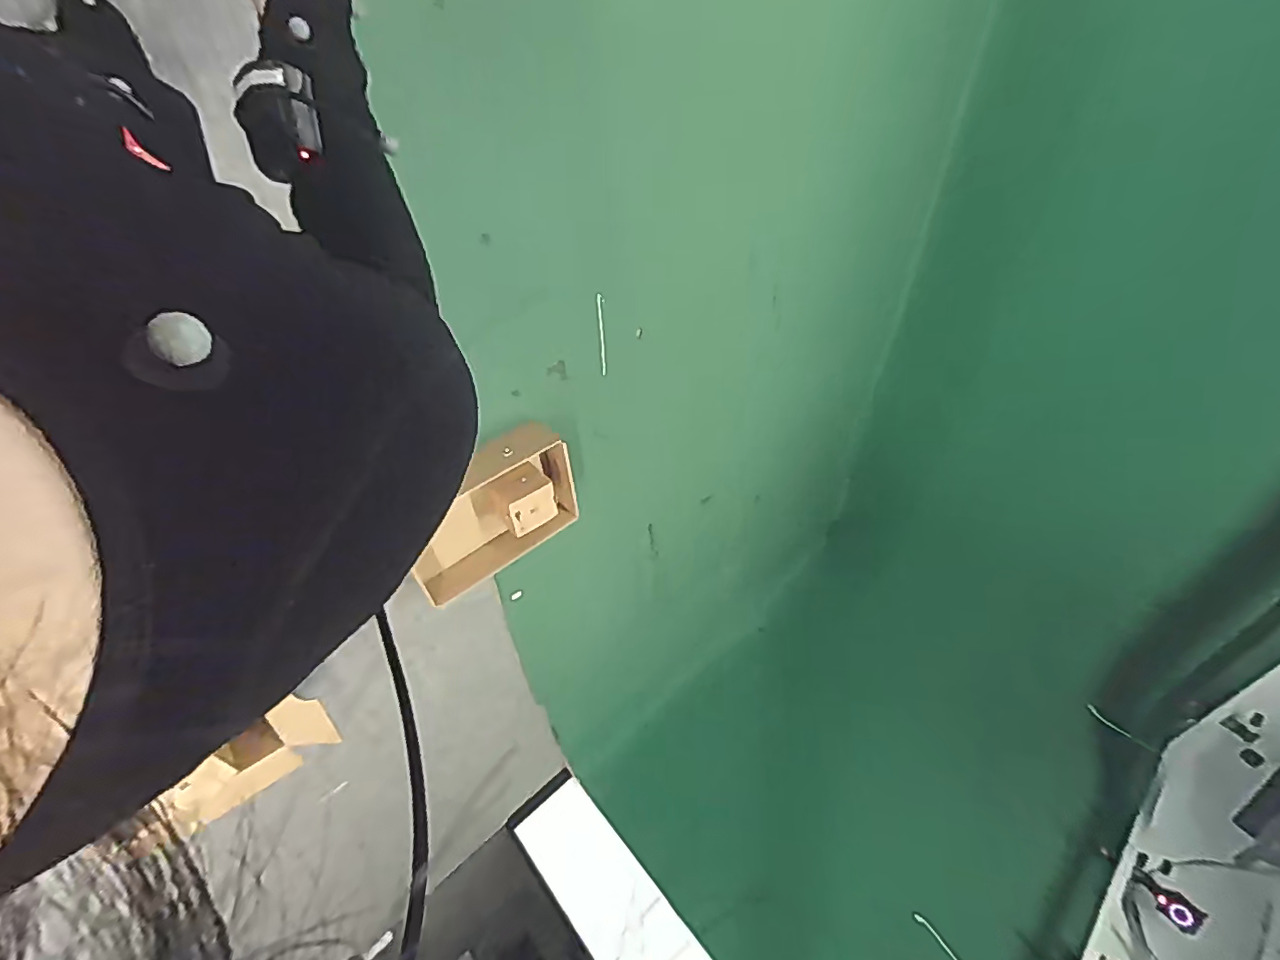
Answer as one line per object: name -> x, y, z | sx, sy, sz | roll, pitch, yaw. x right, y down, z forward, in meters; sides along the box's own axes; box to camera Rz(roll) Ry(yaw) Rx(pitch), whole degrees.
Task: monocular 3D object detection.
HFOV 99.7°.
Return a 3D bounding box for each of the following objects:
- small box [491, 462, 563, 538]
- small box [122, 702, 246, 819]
small box -> -0.397, 0.064, 1.912 | 0.179, 0.176, 0.168 | -32, 140, -27
small box -> -1.138, 0.696, 1.354 | 0.168, 0.176, 0.179 | -35, 140, -29
